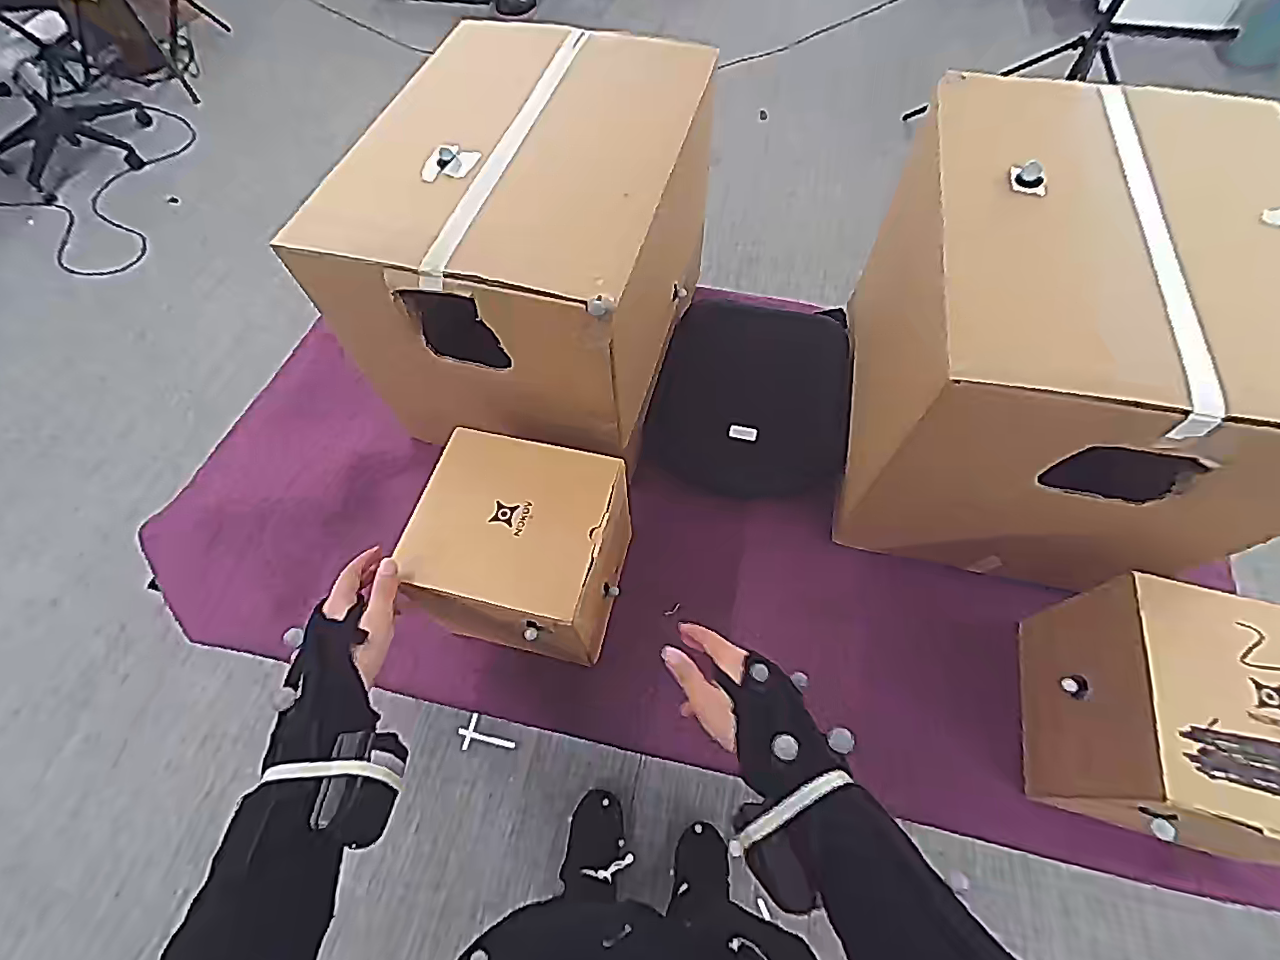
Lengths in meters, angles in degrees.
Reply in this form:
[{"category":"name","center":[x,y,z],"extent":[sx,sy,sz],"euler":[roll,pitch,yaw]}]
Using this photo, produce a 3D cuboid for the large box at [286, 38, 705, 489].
[{"category":"large box","center":[-0.116,-0.254,0.672],"extent":[0.320,0.320,0.408],"euler":[12,65,9]}]
